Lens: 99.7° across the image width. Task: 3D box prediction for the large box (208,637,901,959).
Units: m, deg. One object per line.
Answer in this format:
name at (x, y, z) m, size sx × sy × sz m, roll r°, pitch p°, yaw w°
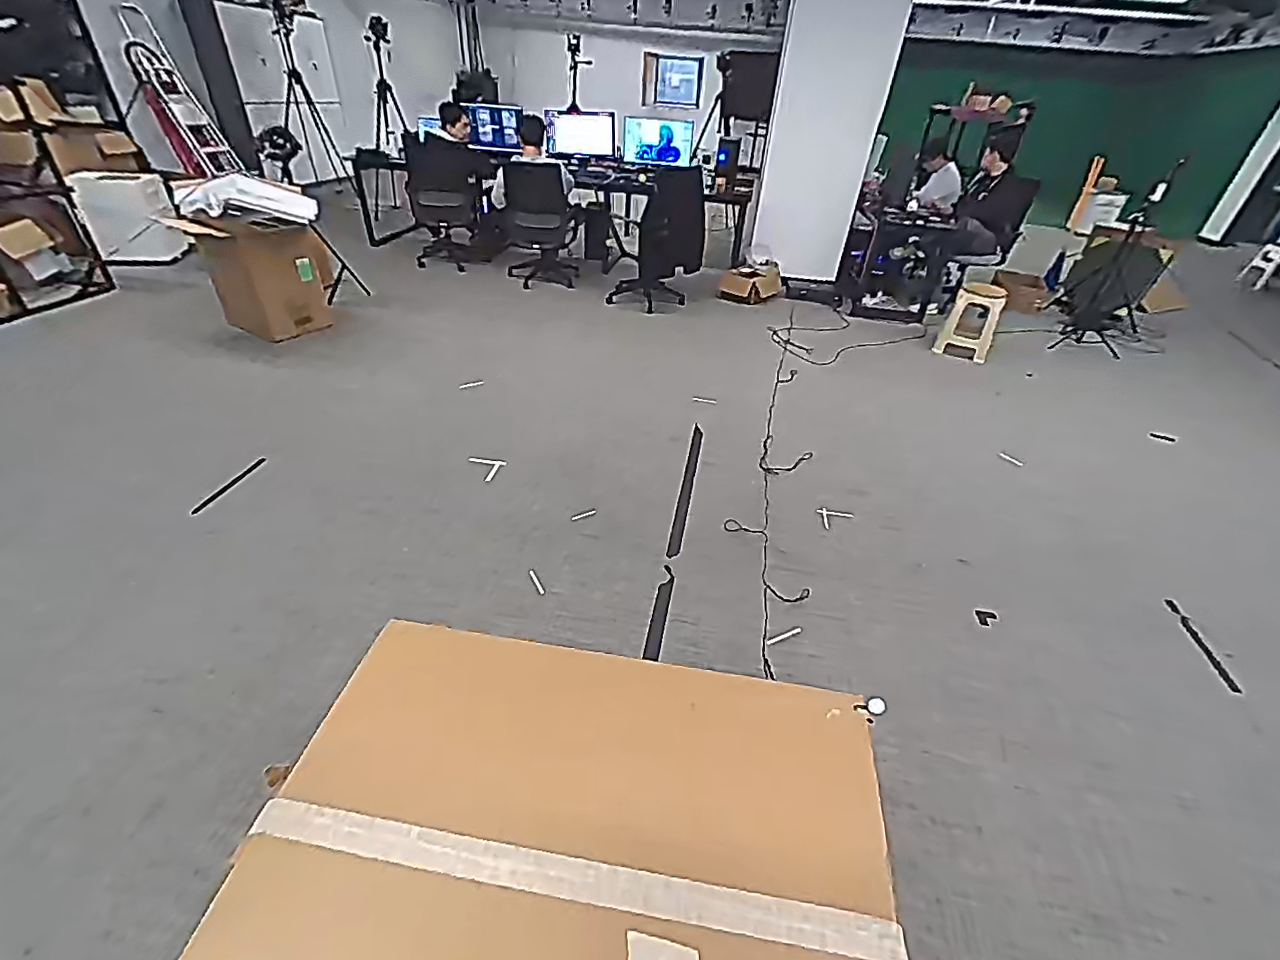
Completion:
large box at (-0.047, 0.369, 0.437) m, size 0.408 × 0.320 × 0.320 m, roll 7°, pitch 42°, yaw 6°
